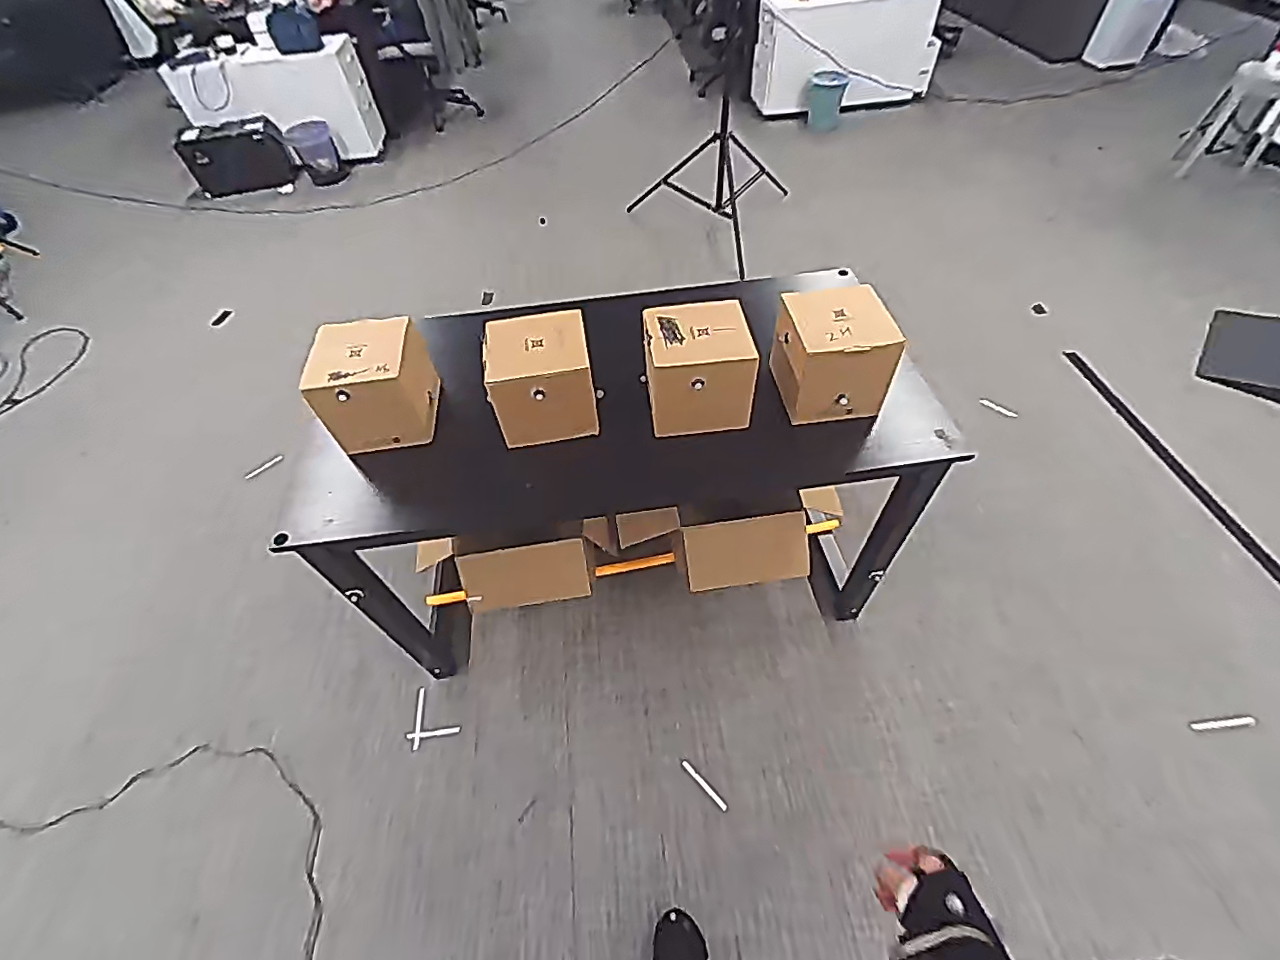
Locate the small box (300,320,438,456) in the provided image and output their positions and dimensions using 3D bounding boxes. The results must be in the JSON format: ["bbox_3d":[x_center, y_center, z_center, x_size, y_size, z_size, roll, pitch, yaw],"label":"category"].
[{"bbox_3d":[-0.488,-0.170,1.007,0.168,0.176,0.179,-8,52,-3],"label":"small box"}]

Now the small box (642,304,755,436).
[{"bbox_3d":[0.101,-0.196,0.985,0.179,0.176,0.168,-6,51,0],"label":"small box"}]

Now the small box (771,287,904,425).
[{"bbox_3d":[0.345,-0.225,0.989,0.168,0.176,0.179,-7,51,0],"label":"small box"}]

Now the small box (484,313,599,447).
[{"bbox_3d":[-0.178,-0.178,0.995,0.179,0.176,0.168,-9,53,-4],"label":"small box"}]
